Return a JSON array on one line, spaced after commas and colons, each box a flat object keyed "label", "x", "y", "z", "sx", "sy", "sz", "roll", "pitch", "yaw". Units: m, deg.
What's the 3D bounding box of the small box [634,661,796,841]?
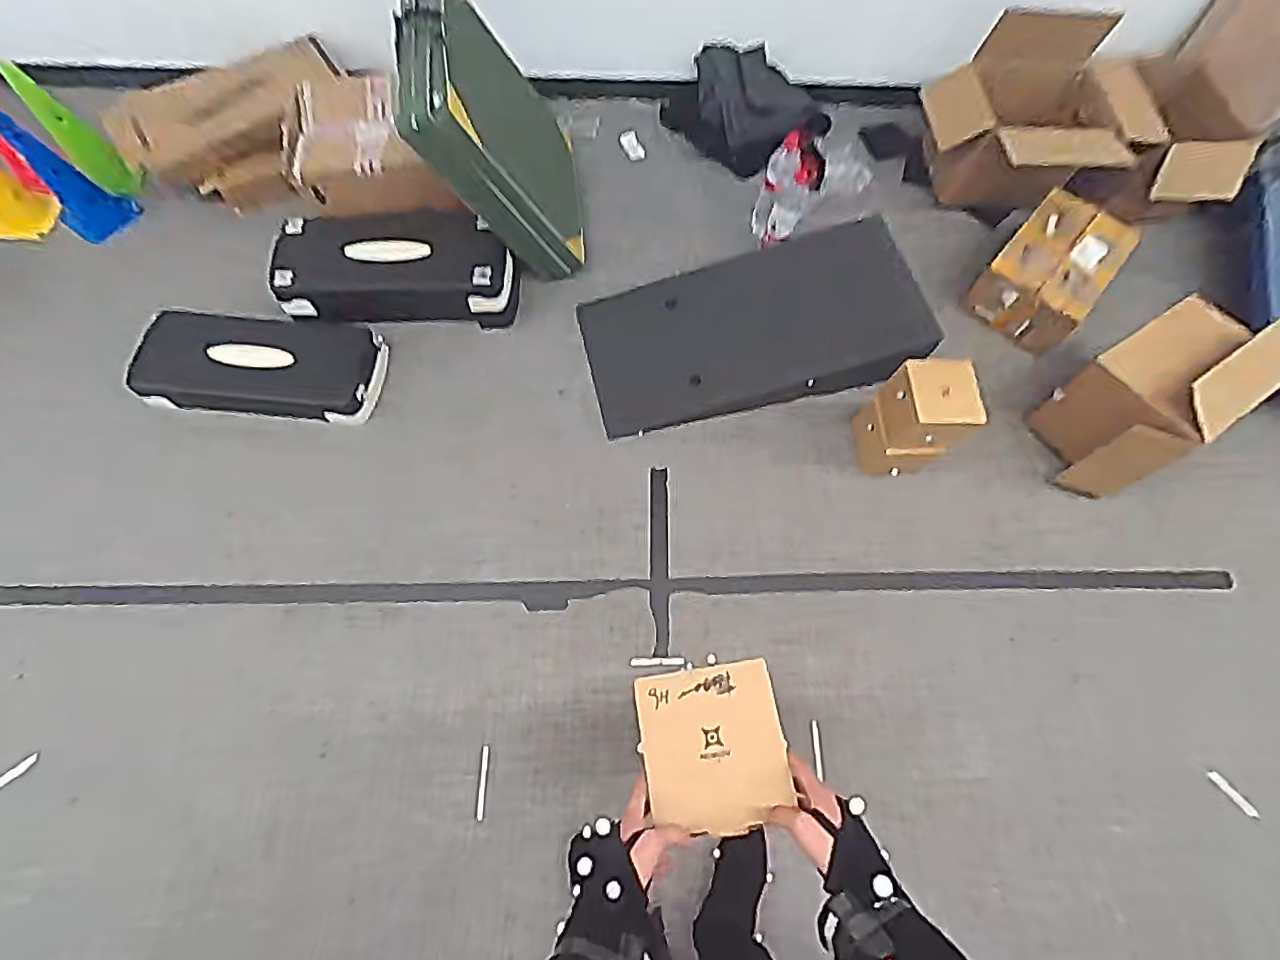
[{"label": "small box", "x": 0.091, "y": 0.340, "z": 0.705, "sx": 0.168, "sy": 0.176, "sz": 0.179, "roll": -9, "pitch": 68, "yaw": 1}]
